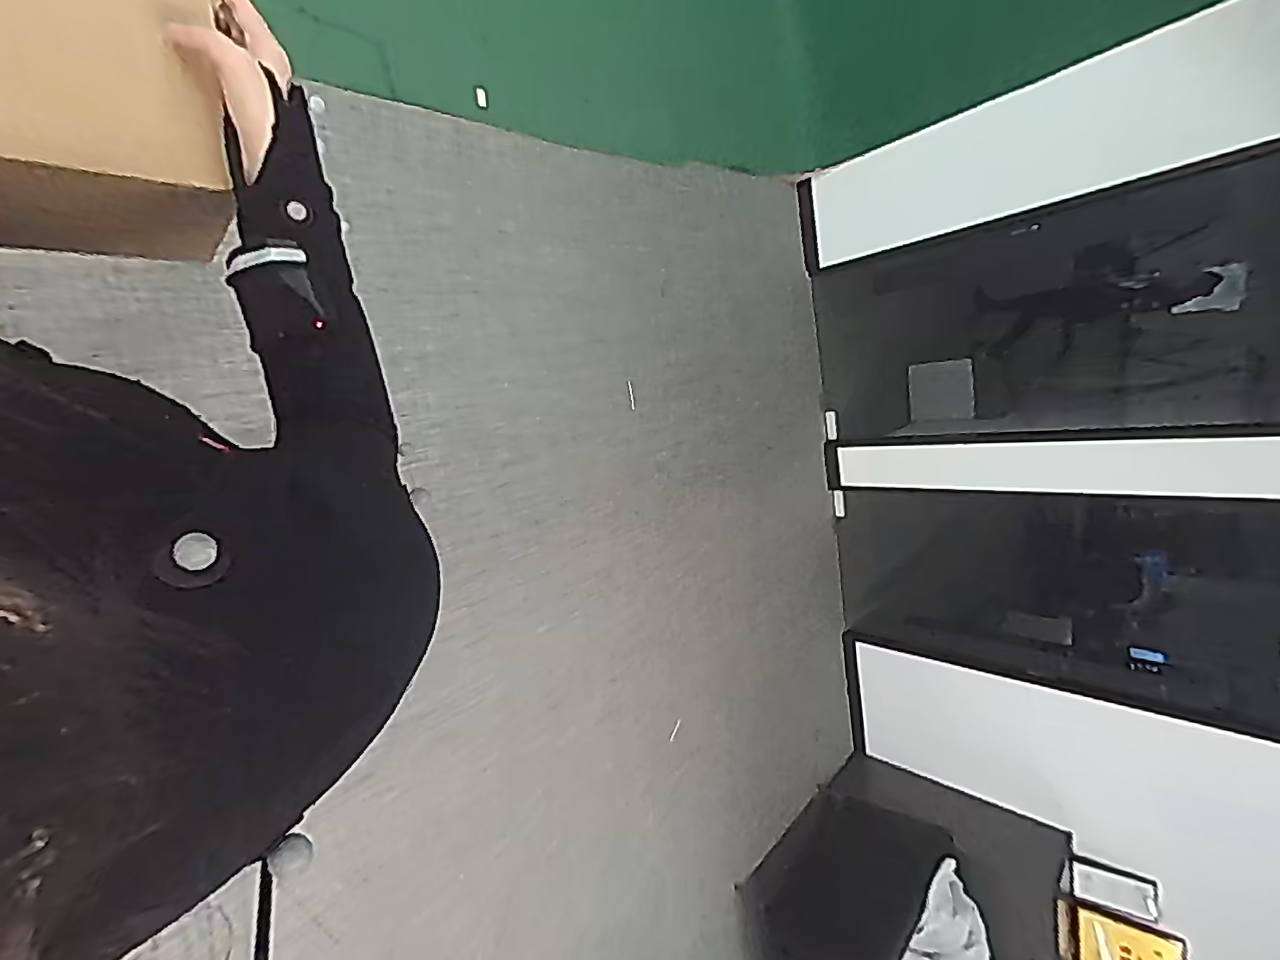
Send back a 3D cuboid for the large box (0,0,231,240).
[{"bbox_3d":[-0.567,-0.369,0.370,0.408,0.320,0.320,-13,106,-40],"label":"large box"}]
